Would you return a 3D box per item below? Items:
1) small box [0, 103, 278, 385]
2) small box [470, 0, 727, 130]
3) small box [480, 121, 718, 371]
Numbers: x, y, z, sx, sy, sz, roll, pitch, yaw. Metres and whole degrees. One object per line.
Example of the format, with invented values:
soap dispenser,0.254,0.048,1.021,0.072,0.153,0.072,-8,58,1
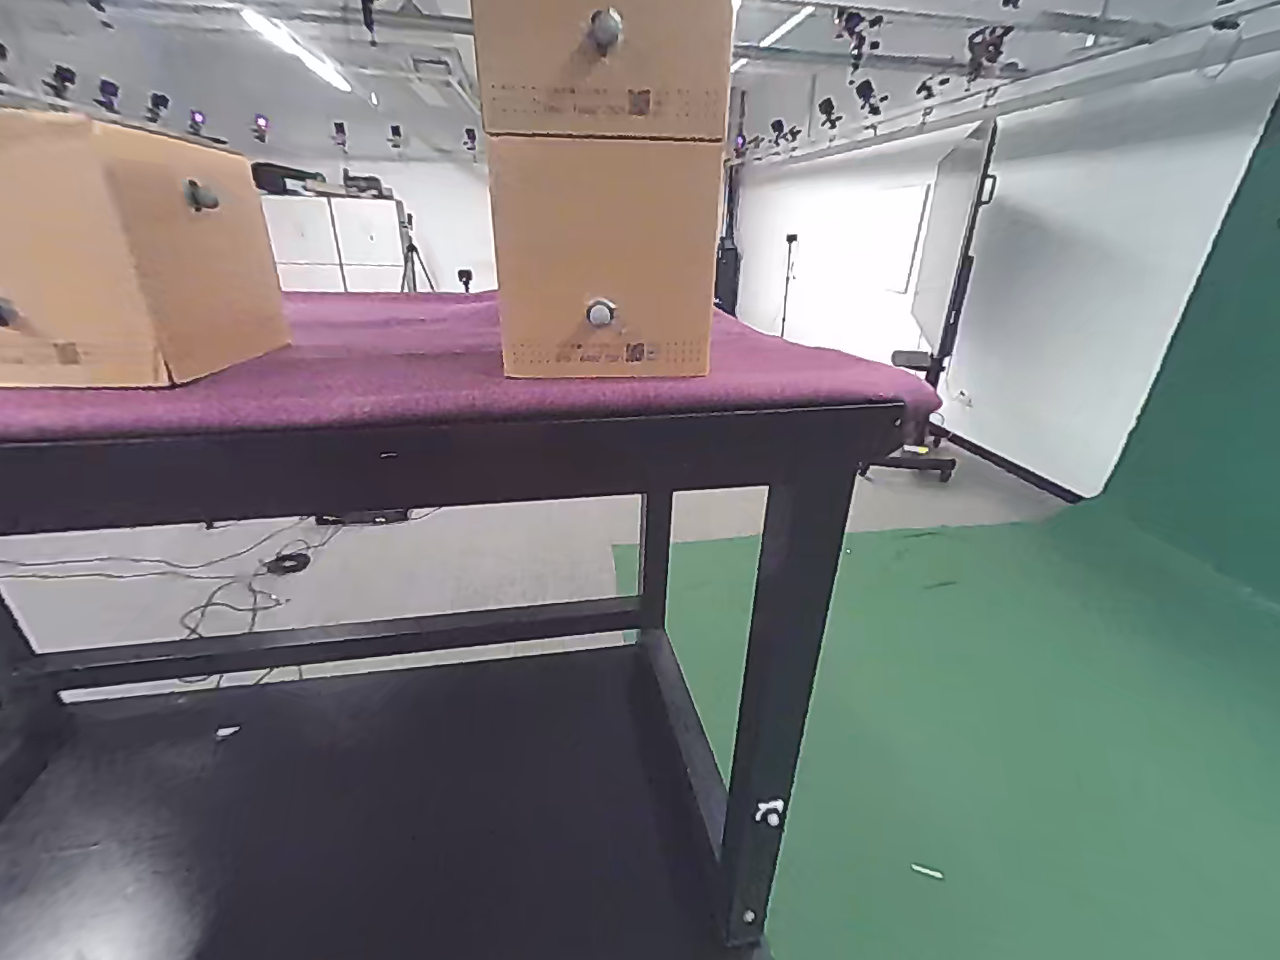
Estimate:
small box,-0.416,-0.177,0.420,0.168,0.176,0.179,-2,25,-6
small box,-0.032,-0.348,0.404,0.168,0.176,0.179,-3,26,-4
small box,-0.034,-0.199,0.473,0.168,0.176,0.179,-2,26,-5
